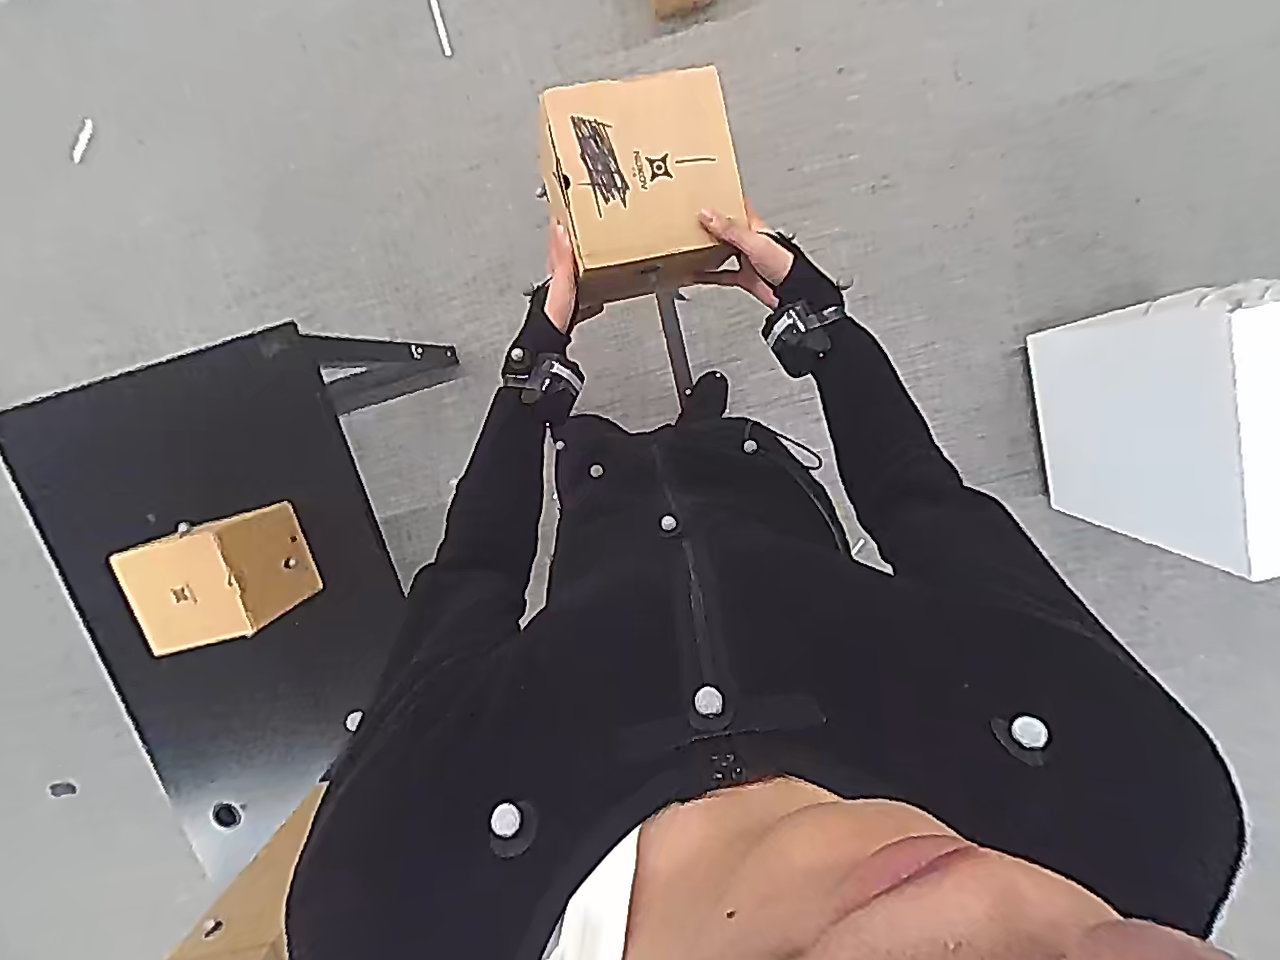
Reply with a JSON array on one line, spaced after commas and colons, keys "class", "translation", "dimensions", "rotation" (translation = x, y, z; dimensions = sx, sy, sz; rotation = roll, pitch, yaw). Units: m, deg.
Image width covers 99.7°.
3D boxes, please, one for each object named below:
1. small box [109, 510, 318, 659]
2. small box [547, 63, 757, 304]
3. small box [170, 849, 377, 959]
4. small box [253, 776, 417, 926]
[{"class": "small box", "translation": [-0.675, 0.160, 0.878], "dimensions": [0.179, 0.176, 0.168], "rotation": [-15, 100, 5]}, {"class": "small box", "translation": [0.002, -0.302, 0.586], "dimensions": [0.179, 0.176, 0.168], "rotation": [-14, 97, -9]}, {"class": "small box", "translation": [-0.538, 0.700, 0.808], "dimensions": [0.179, 0.176, 0.168], "rotation": [-15, 101, 6]}, {"class": "small box", "translation": [-0.528, 0.668, 0.970], "dimensions": [0.179, 0.176, 0.168], "rotation": [-16, 100, 5]}]
